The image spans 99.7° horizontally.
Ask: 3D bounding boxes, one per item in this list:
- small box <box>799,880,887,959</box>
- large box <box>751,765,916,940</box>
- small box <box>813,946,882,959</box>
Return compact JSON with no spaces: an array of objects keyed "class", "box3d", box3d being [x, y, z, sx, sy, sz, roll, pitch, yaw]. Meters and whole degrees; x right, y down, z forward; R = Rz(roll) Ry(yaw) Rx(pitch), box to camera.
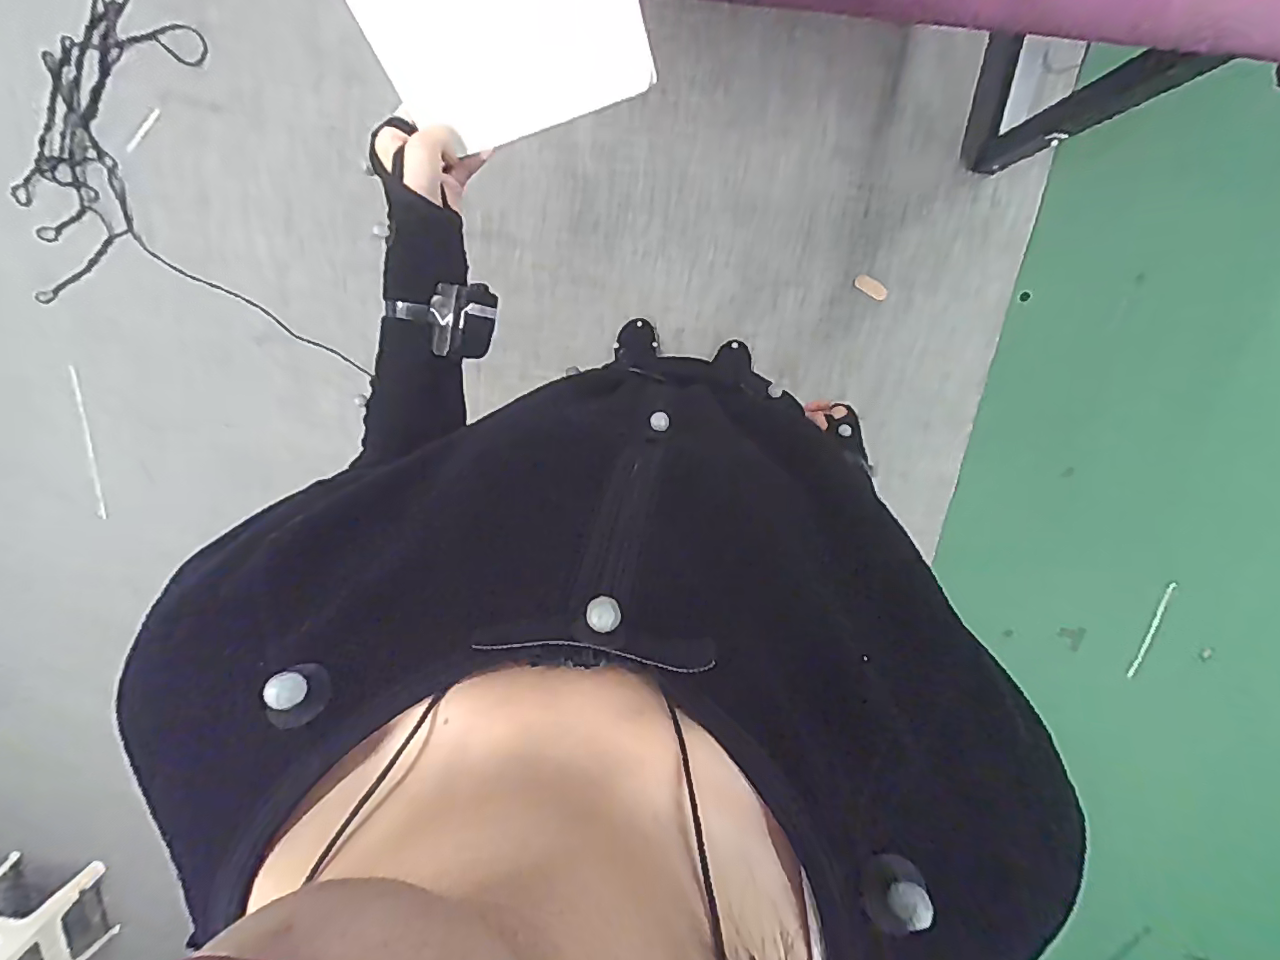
[{"class":"small box","box3d":[0.526,1.194,1.420,0.179,0.176,0.168,-3,104,6]},{"class":"large box","box3d":[0.572,1.123,1.652,0.408,0.320,0.320,-7,106,5]},{"class":"small box","box3d":[0.504,1.242,1.265,0.168,0.176,0.179,-1,105,5]}]
